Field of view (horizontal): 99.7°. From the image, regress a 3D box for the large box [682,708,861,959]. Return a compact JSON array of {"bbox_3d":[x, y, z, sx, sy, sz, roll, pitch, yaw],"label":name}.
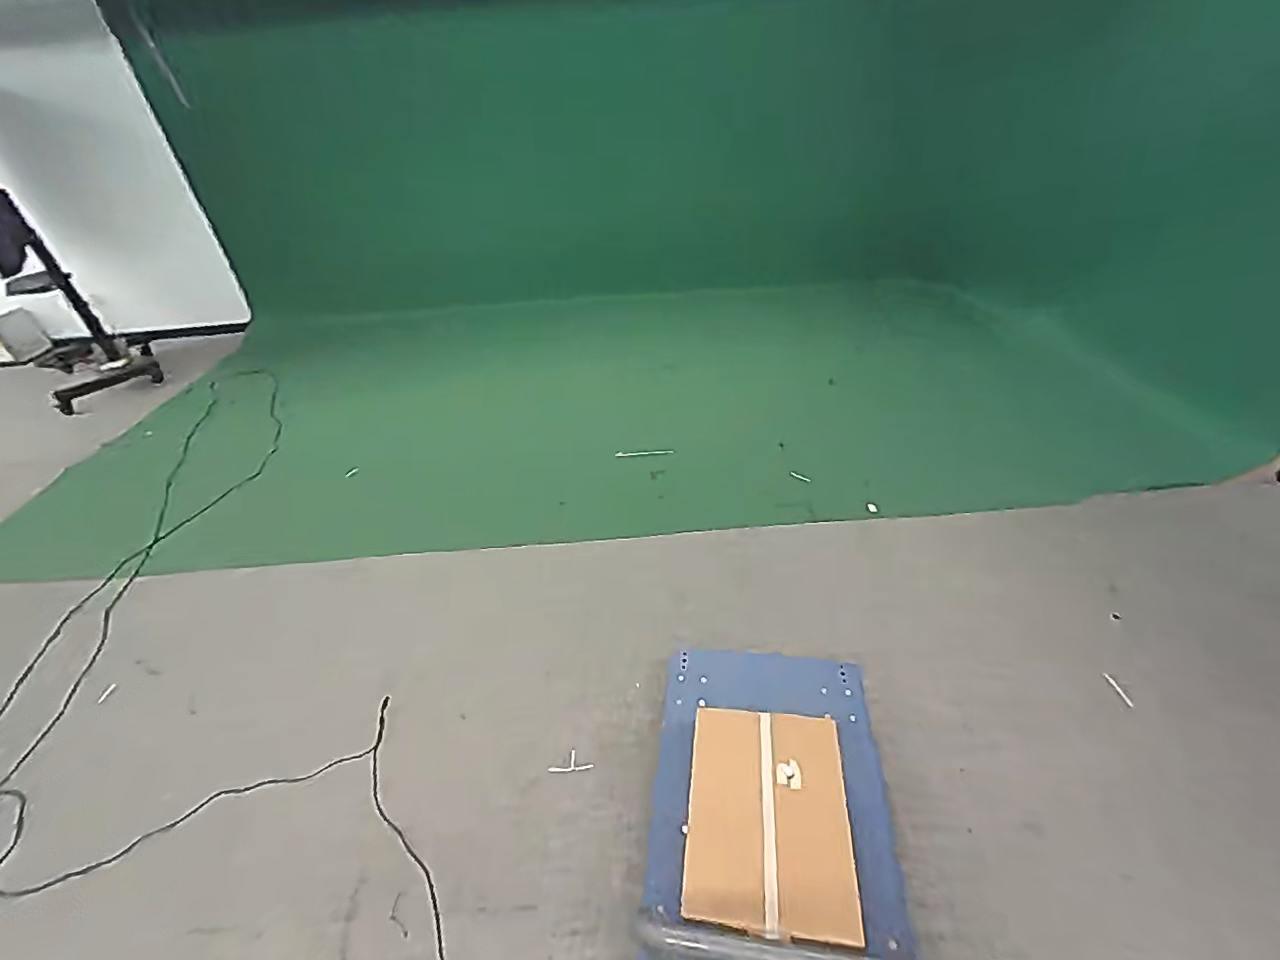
[{"bbox_3d":[0.264,0.780,1.184,0.320,0.320,0.408,2,36,9],"label":"large box"}]
